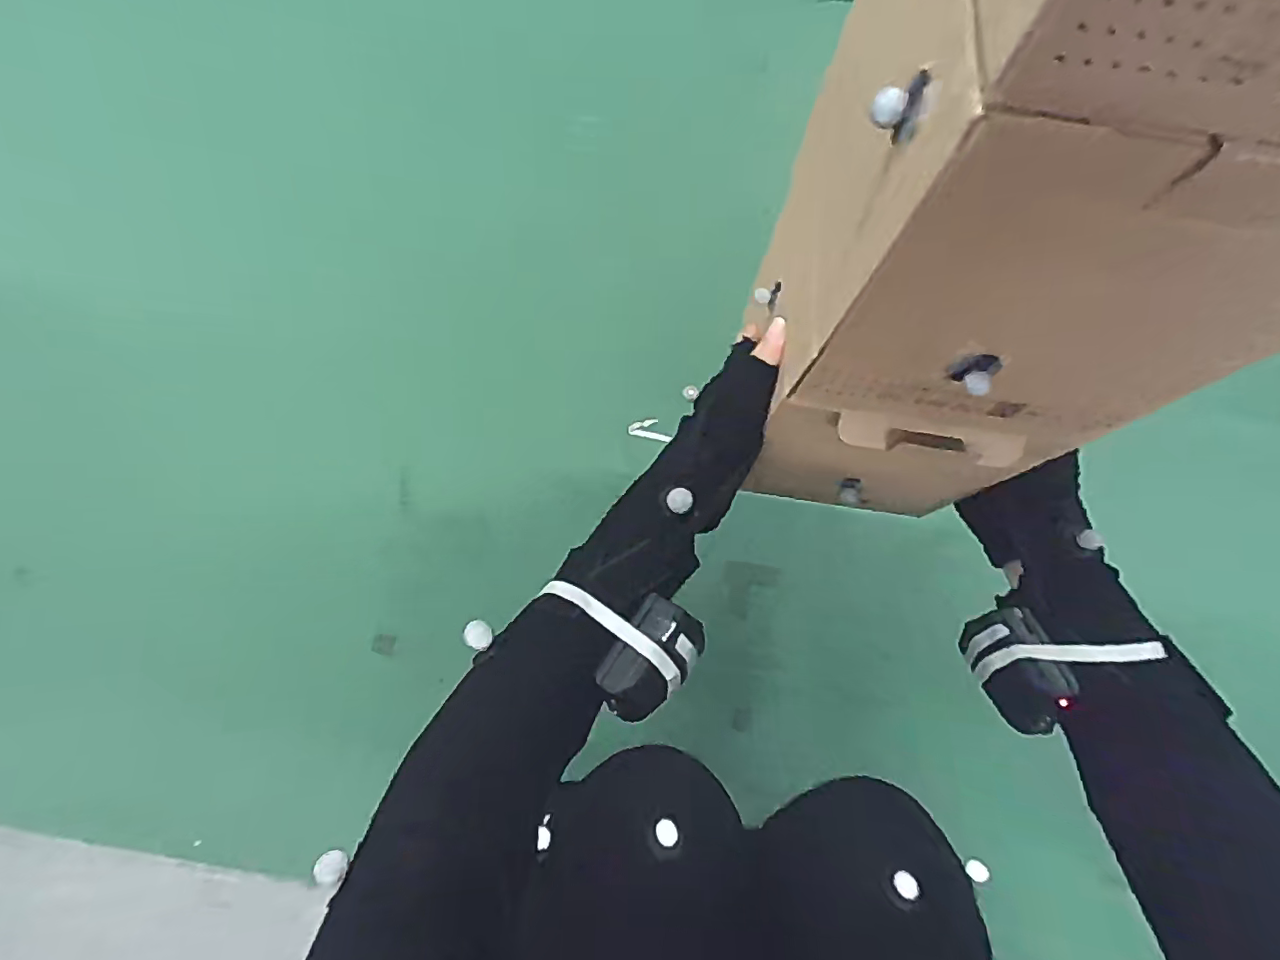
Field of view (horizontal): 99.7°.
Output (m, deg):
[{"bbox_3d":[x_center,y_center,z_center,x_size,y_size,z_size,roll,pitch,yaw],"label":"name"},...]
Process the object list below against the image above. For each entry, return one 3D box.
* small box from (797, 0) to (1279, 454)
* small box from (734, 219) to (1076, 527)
[{"bbox_3d":[0.180,-0.130,0.252,0.168,0.176,0.179,7,72,-1],"label":"small box"},{"bbox_3d":[0.173,-0.078,0.406,0.168,0.176,0.179,10,72,0],"label":"small box"}]
